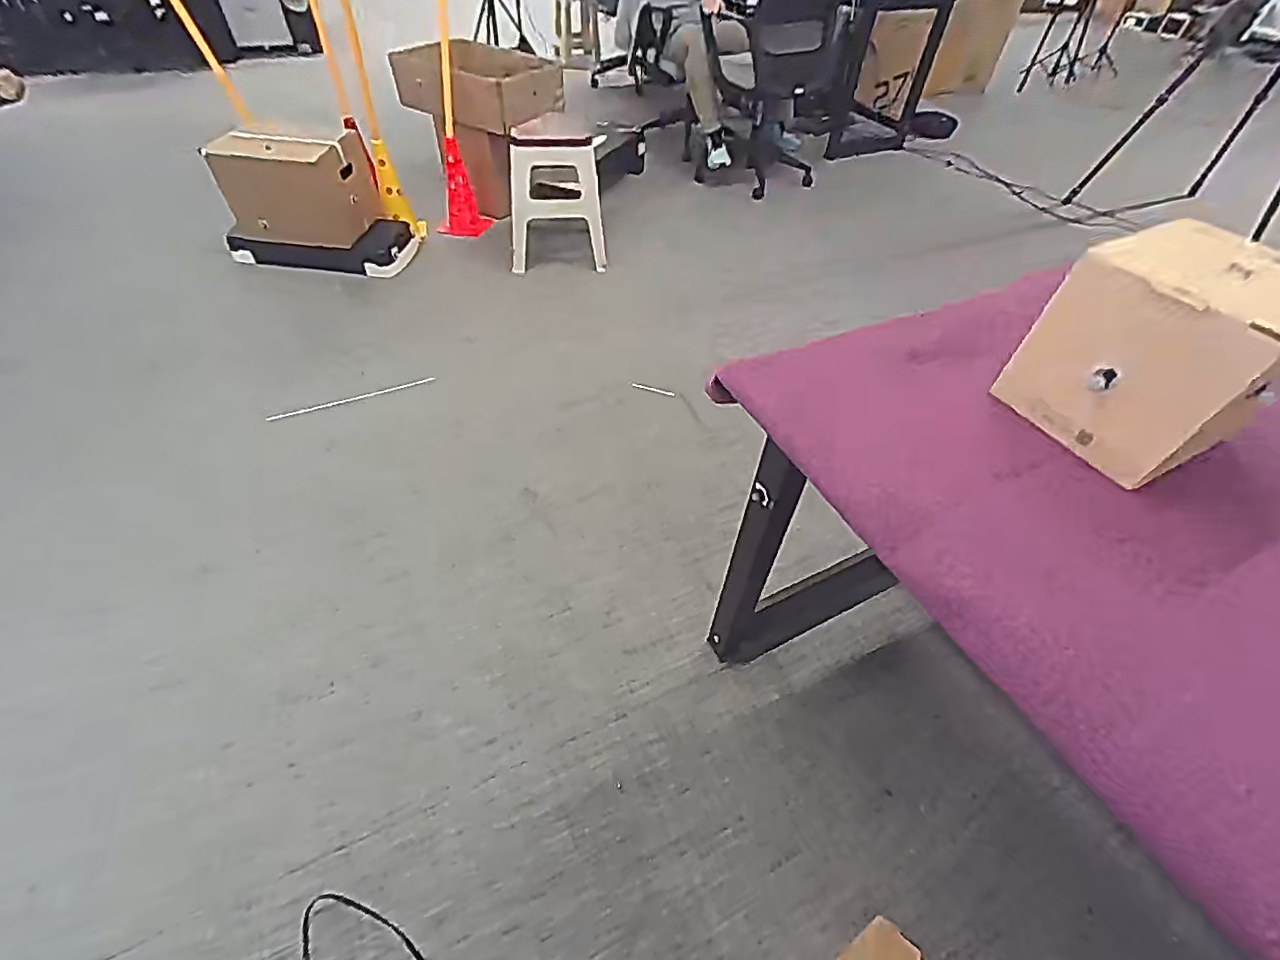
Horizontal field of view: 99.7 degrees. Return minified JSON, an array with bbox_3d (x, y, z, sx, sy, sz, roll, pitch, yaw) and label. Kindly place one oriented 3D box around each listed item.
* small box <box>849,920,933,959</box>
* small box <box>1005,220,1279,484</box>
[{"bbox_3d":[0.329,0.732,0.683,0.168,0.176,0.179,29,32,27],"label":"small box"},{"bbox_3d":[0.503,-0.123,0.526,0.179,0.176,0.168,-21,53,-19],"label":"small box"}]
